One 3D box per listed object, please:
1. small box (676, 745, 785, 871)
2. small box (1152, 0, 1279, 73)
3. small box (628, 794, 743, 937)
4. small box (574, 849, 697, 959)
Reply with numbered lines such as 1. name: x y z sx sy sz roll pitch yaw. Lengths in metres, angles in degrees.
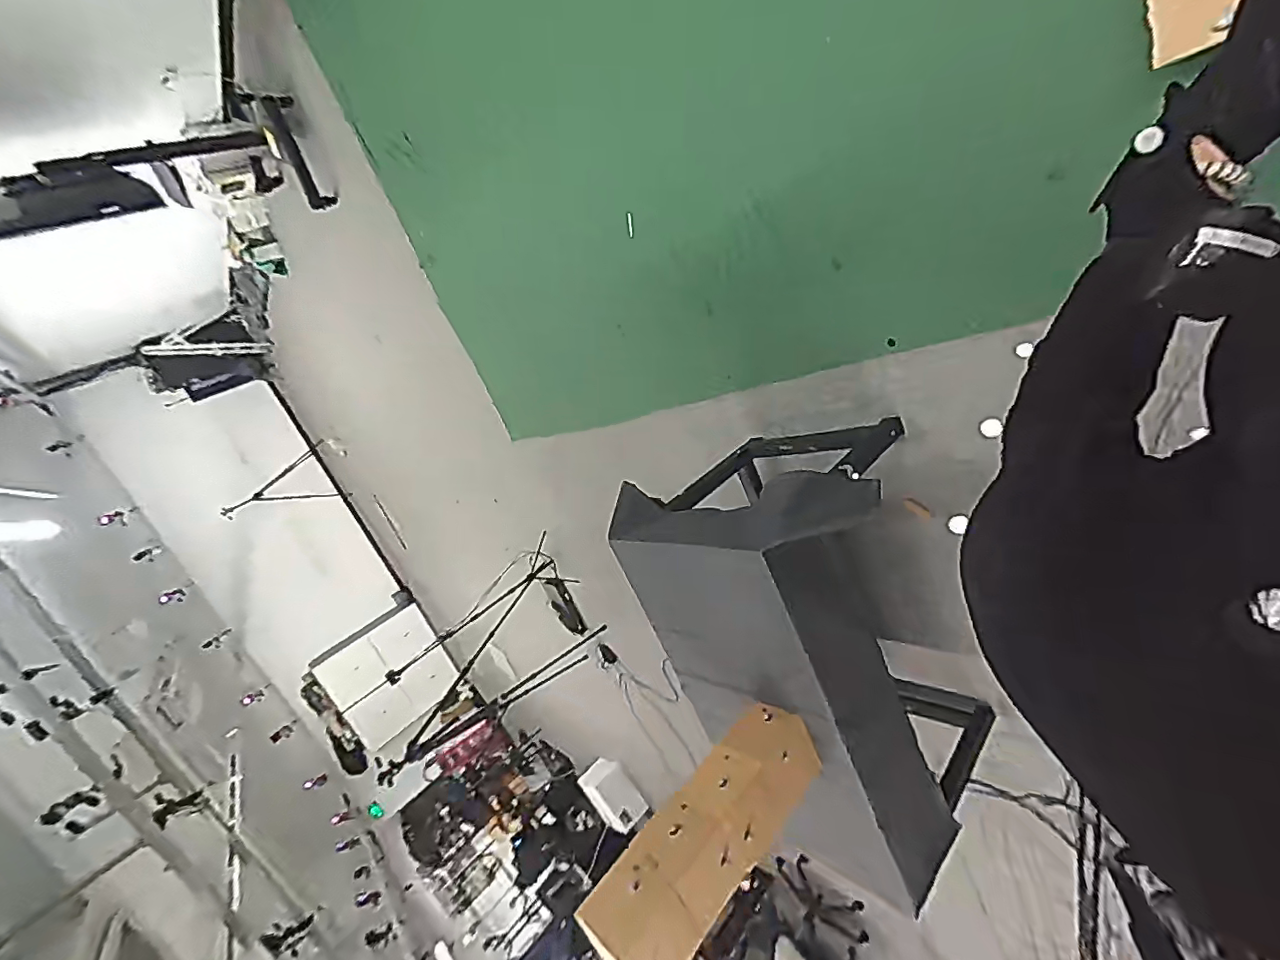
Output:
1. small box: 0.225 0.796 1.335 0.168 0.176 0.179 -6 113 54
2. small box: 0.884 -0.740 0.794 0.179 0.176 0.168 1 119 52
3. small box: 0.109 0.876 1.251 0.168 0.176 0.179 -3 116 53
4. small box: -0.005 0.959 1.166 0.168 0.176 0.179 -6 113 53
